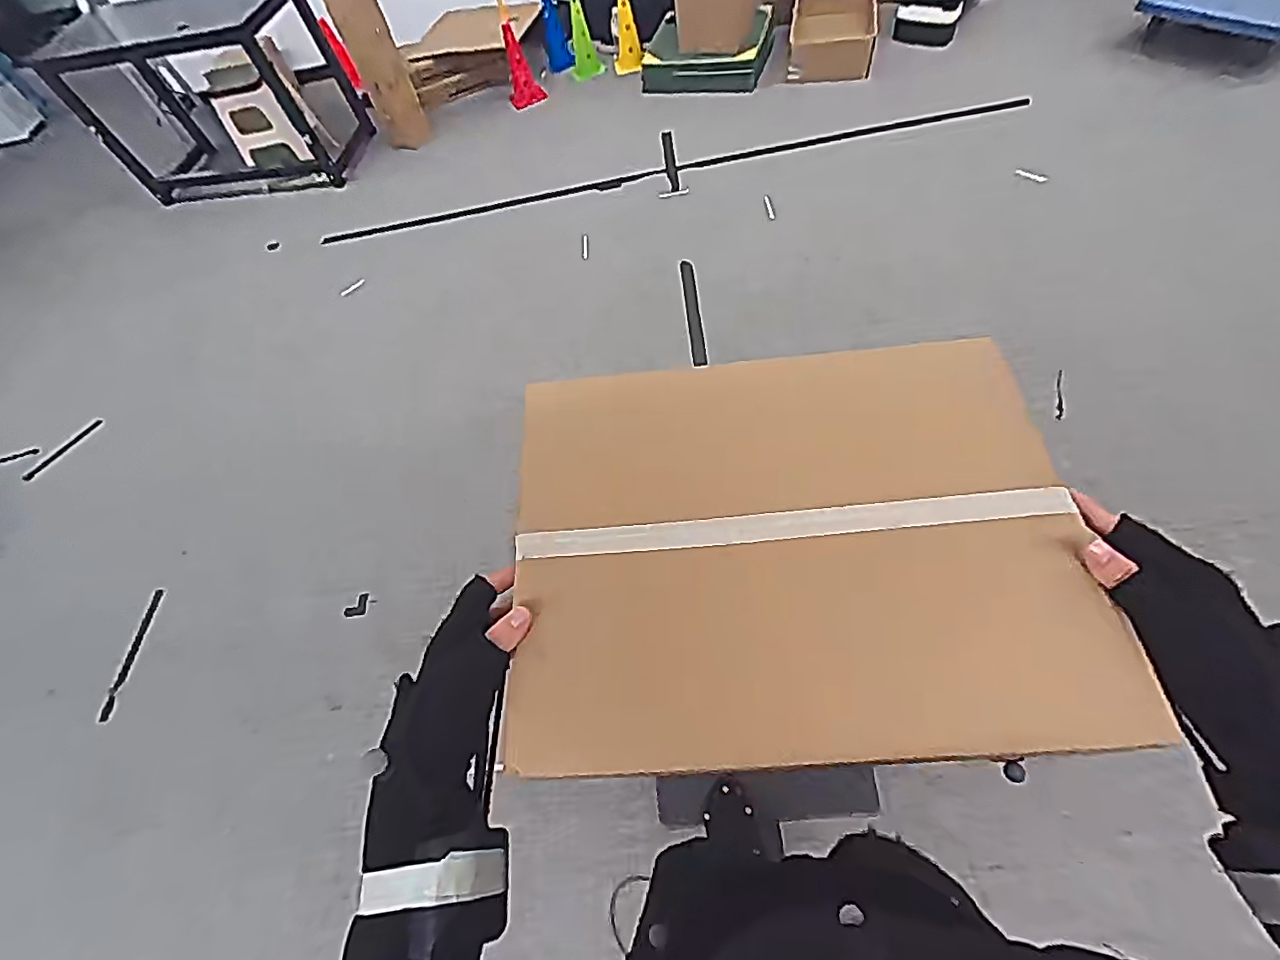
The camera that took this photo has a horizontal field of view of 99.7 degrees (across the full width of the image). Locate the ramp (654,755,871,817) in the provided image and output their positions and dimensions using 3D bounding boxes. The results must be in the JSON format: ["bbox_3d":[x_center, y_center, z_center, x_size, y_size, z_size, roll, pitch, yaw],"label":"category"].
[{"bbox_3d":[0.236,0.281,1.399,0.509,0.206,0.991,-8,59,3],"label":"ramp"}]

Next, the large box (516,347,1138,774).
[{"bbox_3d":[0.122,0.104,0.544,0.408,0.320,0.320,-5,62,4],"label":"large box"}]
